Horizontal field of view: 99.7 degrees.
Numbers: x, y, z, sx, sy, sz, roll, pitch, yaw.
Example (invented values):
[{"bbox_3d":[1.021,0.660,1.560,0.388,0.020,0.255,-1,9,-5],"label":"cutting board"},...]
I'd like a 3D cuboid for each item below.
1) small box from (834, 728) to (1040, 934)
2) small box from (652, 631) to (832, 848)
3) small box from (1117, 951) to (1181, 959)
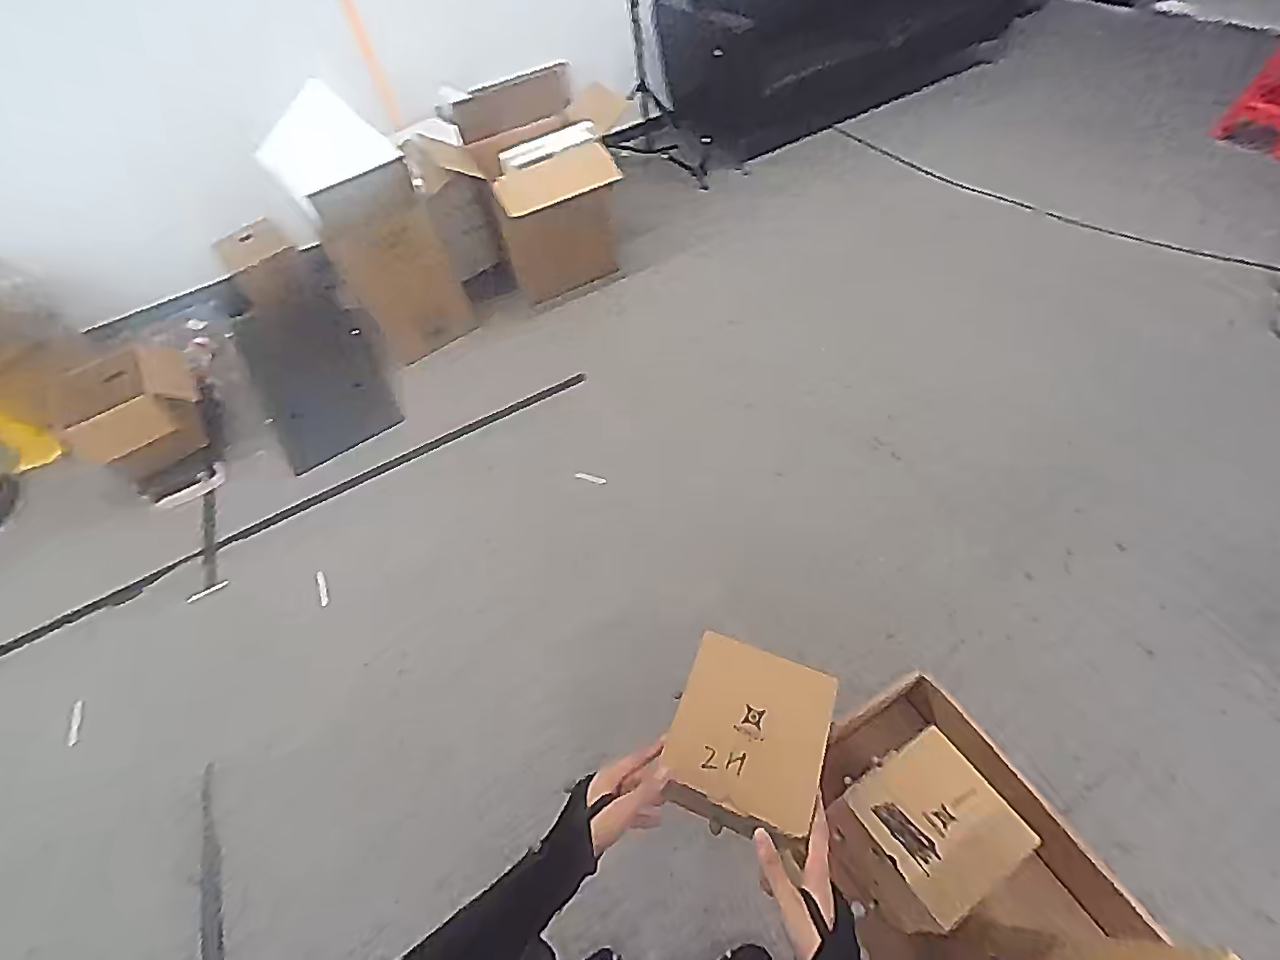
[{"bbox_3d":[0.395,0.490,0.758,0.179,0.176,0.168,-29,54,-15],"label":"small box"},{"bbox_3d":[0.120,0.321,0.667,0.168,0.176,0.179,17,56,15],"label":"small box"},{"bbox_3d":[0.502,0.563,0.477,0.179,0.176,0.168,-29,53,-11],"label":"small box"}]
